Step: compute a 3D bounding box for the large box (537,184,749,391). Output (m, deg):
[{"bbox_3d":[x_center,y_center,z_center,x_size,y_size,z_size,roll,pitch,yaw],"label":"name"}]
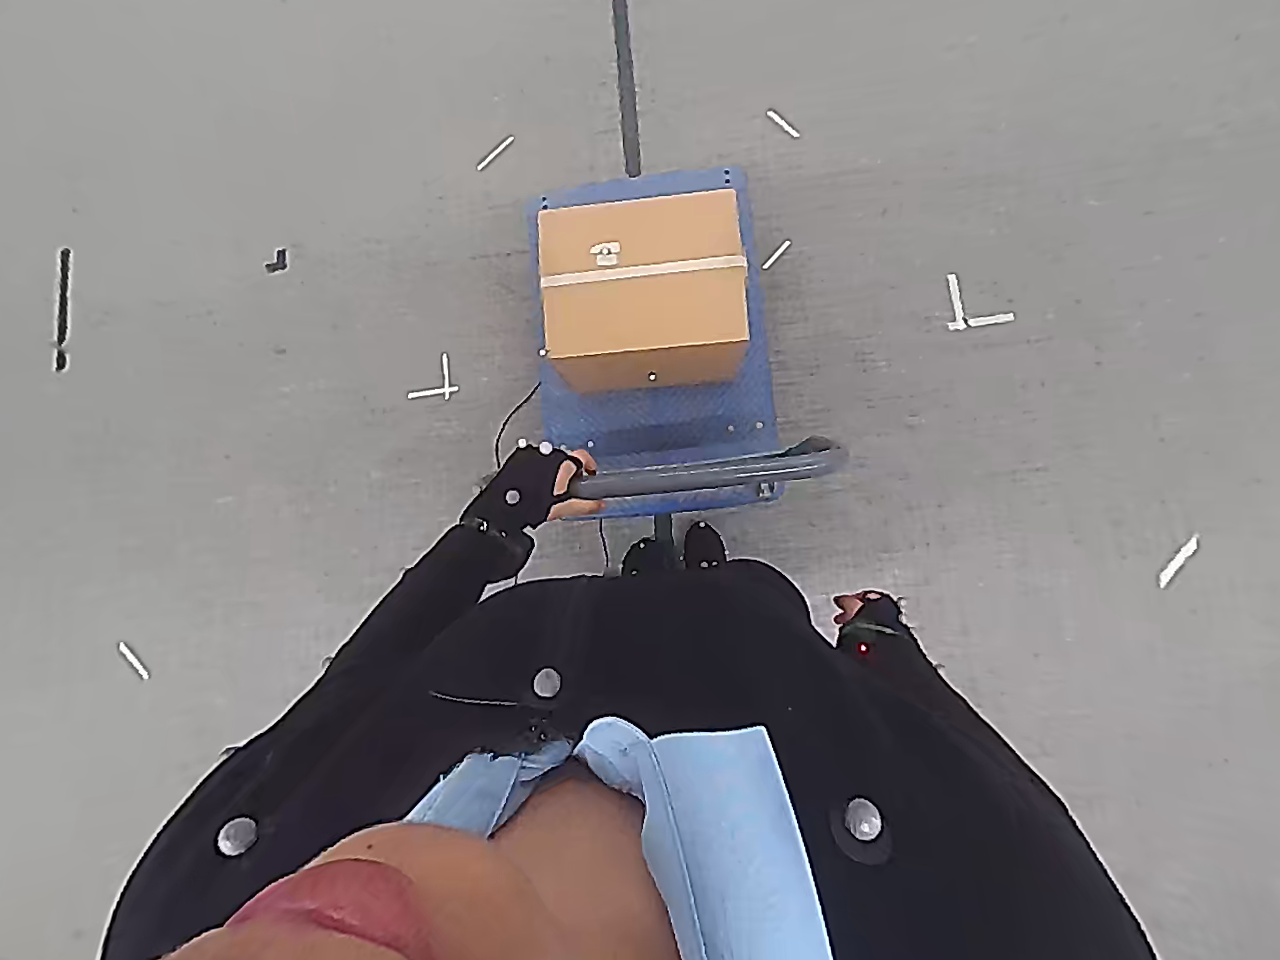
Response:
[{"bbox_3d":[0.016,-0.400,1.210,0.408,0.320,0.320,-5,84,6],"label":"large box"}]
